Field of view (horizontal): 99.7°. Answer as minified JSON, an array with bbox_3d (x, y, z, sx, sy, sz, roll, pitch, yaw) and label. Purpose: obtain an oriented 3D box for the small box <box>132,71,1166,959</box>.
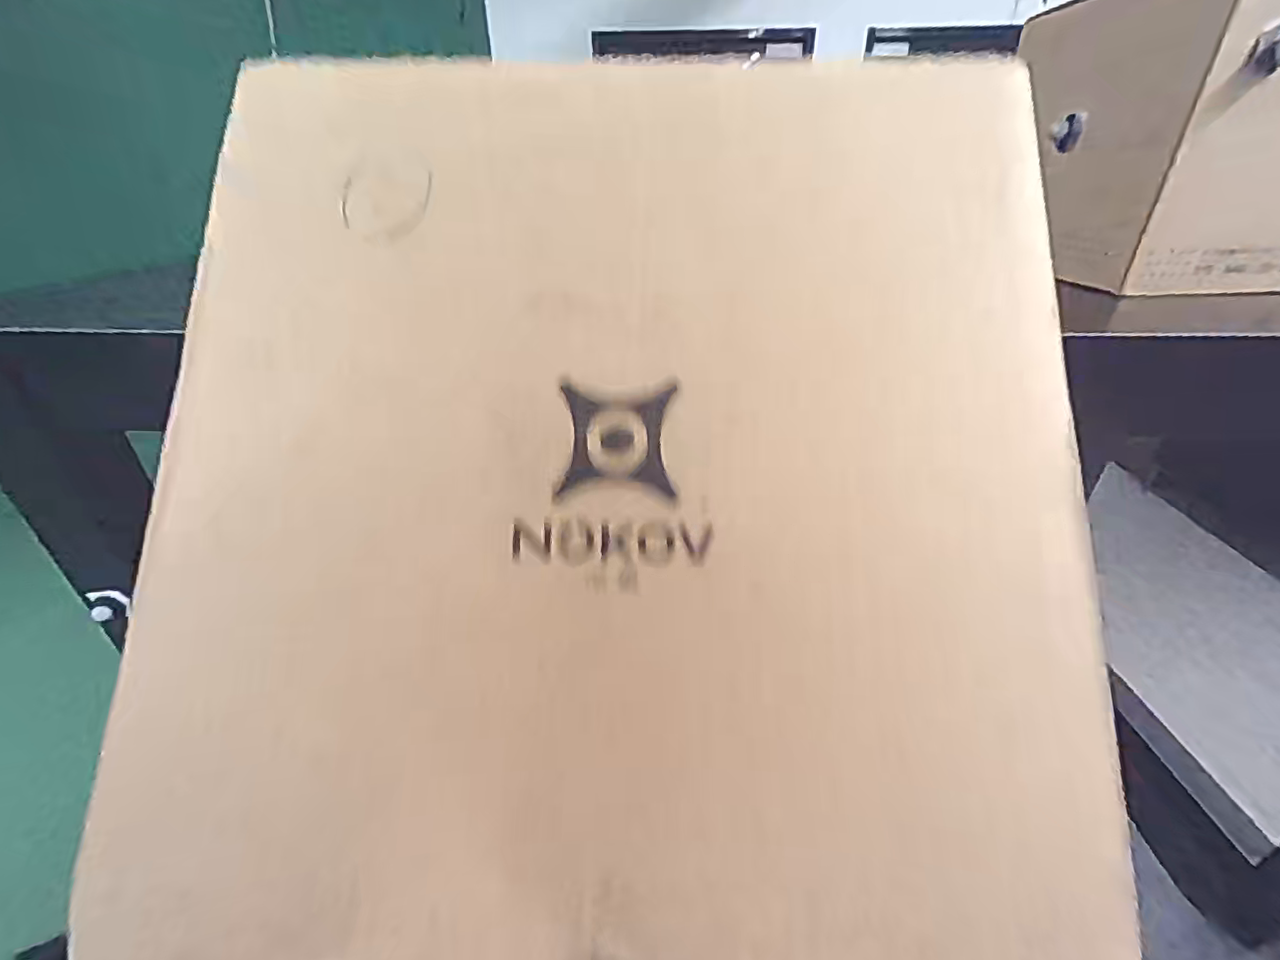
[{"bbox_3d":[0.004,0.013,0.180,0.168,0.179,0.176,1,-11,1],"label":"small box"}]
